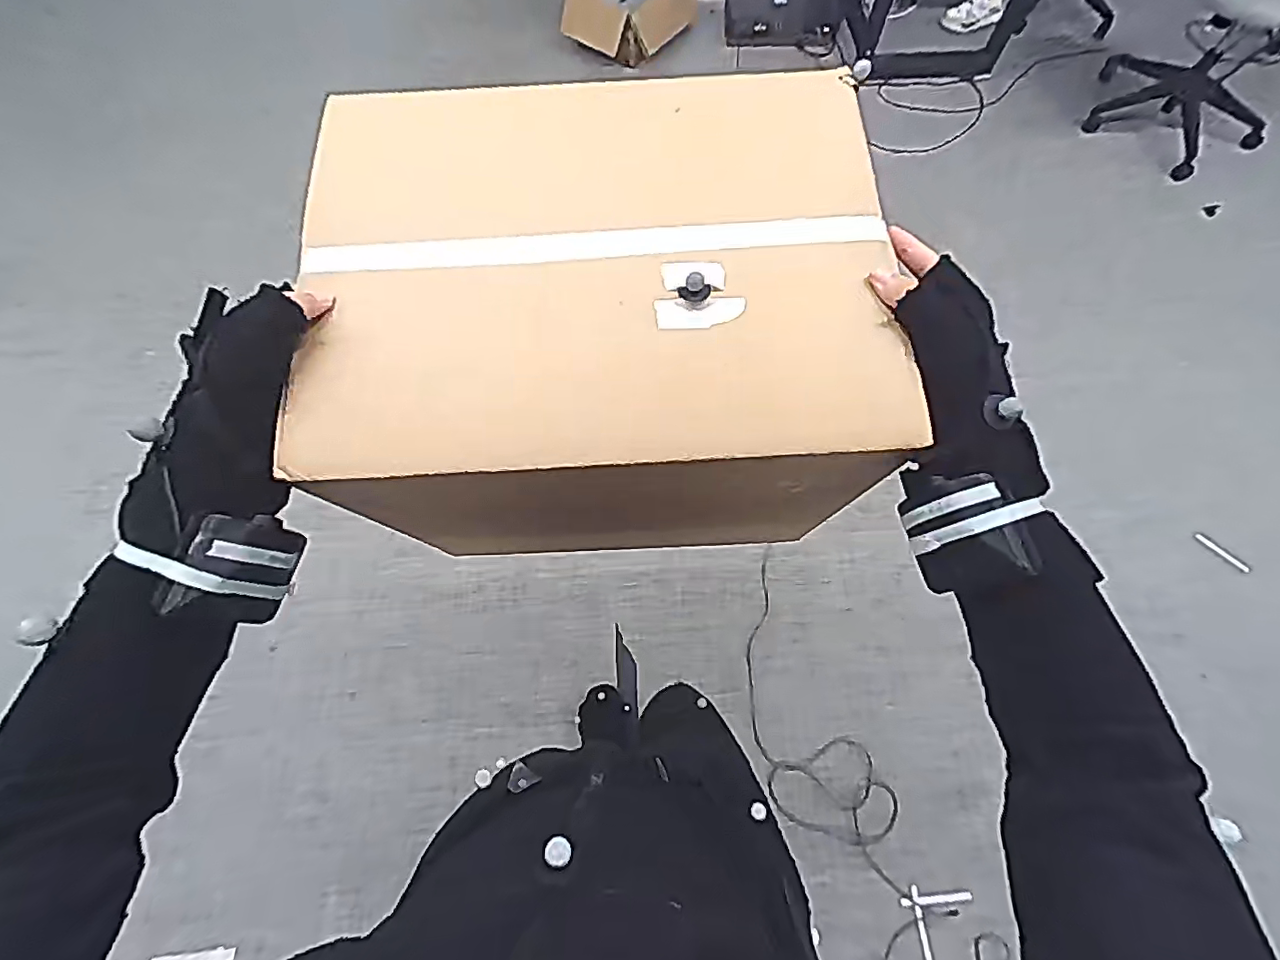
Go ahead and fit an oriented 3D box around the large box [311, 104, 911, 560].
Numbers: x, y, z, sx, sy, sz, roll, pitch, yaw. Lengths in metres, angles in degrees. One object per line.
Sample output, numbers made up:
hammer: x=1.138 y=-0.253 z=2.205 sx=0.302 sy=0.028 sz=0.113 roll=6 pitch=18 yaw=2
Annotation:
large box: x=-0.026 y=-0.108 z=0.539 sx=0.408 sy=0.320 sz=0.320 roll=-3 pitch=73 yaw=0
